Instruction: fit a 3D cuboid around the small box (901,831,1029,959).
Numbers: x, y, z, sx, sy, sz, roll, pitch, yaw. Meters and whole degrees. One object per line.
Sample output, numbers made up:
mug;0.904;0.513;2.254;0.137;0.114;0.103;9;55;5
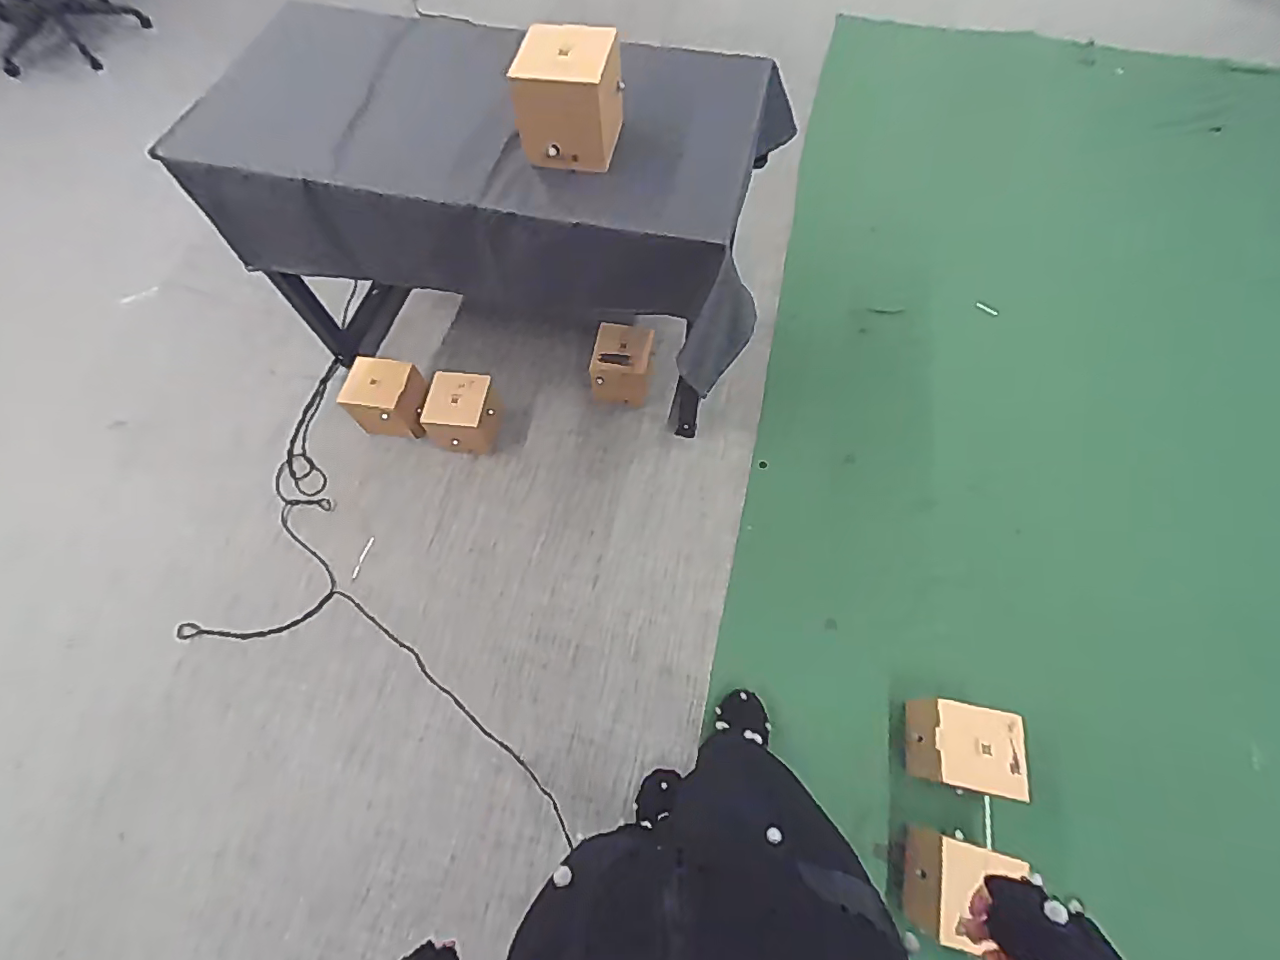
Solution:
small box;0.641;0.836;1.082;0.168;0.176;0.179;14;65;7

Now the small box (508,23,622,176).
small box;-0.130;-0.717;1.024;0.168;0.176;0.179;9;65;6

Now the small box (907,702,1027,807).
small box;0.708;0.601;1.192;0.179;0.176;0.168;11;65;7
